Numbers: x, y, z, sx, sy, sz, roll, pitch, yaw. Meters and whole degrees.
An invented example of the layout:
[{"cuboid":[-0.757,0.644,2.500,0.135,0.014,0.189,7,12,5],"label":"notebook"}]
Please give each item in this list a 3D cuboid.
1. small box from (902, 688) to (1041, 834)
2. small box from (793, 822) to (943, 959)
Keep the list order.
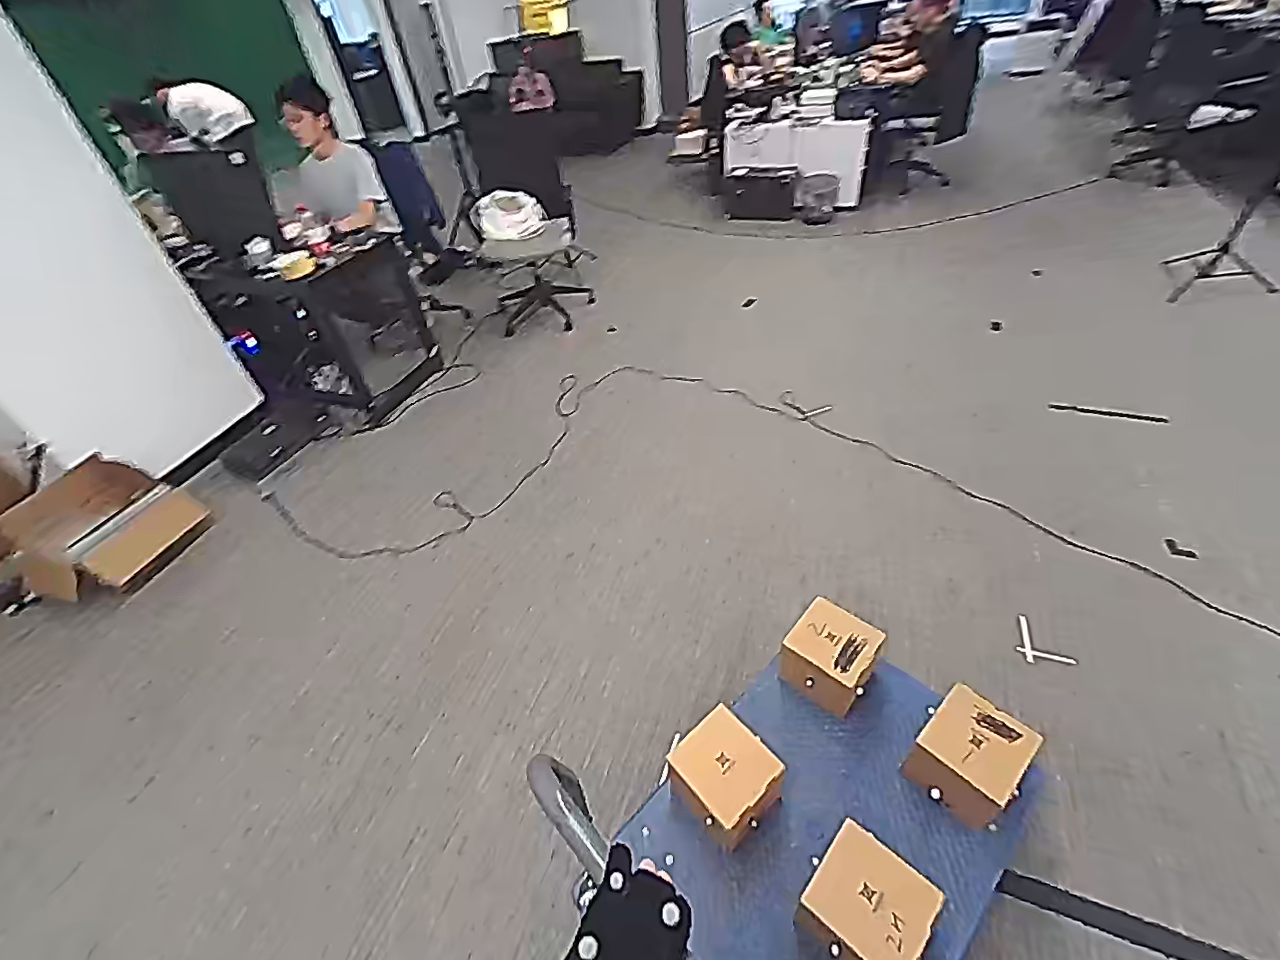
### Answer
[{"cuboid":[0.663,0.571,1.101,0.179,0.176,0.168,-35,49,-25],"label":"small box"},{"cuboid":[0.386,0.755,0.945,0.179,0.176,0.168,30,55,34],"label":"small box"}]
